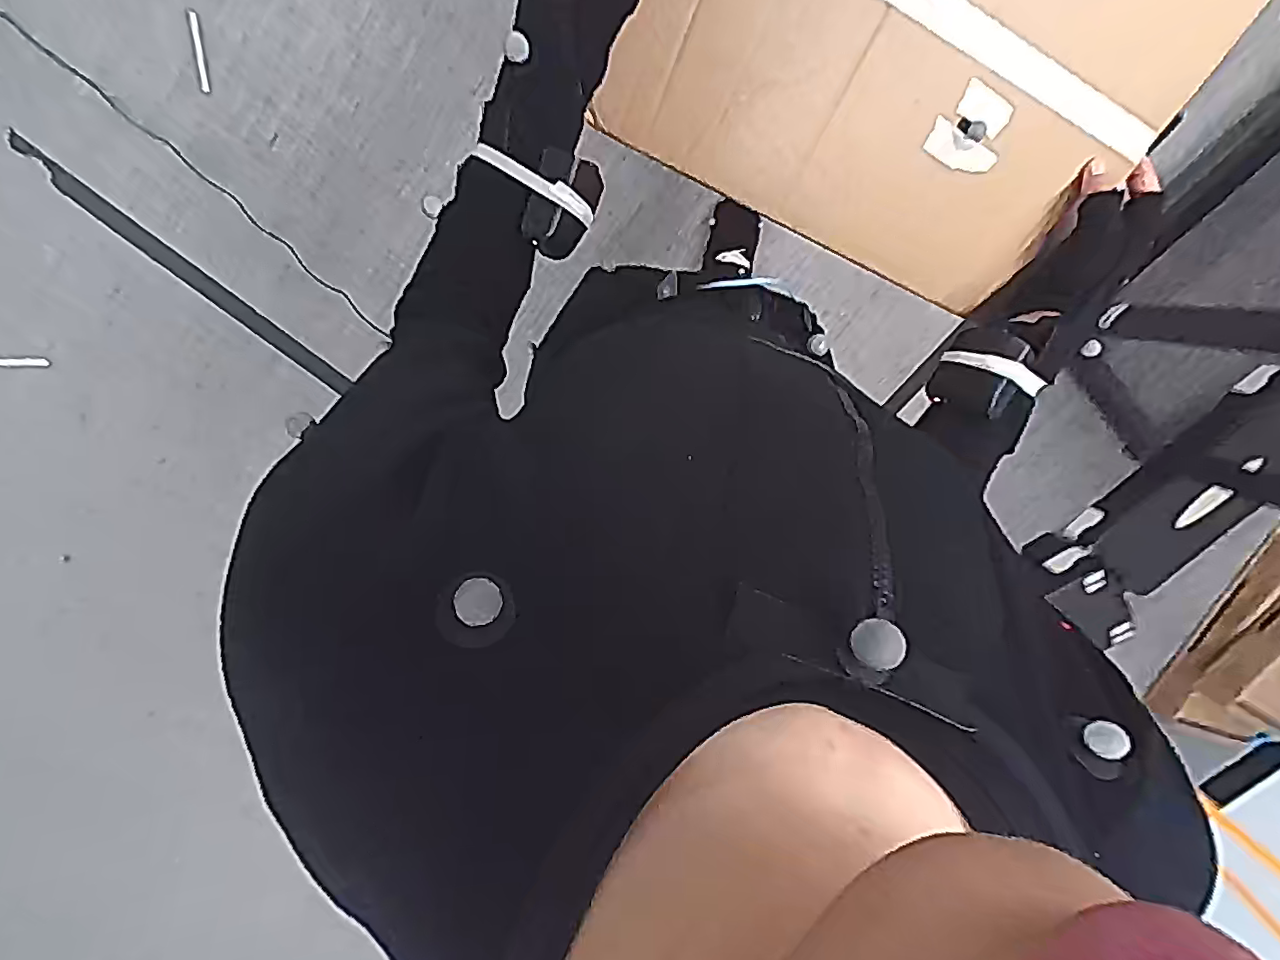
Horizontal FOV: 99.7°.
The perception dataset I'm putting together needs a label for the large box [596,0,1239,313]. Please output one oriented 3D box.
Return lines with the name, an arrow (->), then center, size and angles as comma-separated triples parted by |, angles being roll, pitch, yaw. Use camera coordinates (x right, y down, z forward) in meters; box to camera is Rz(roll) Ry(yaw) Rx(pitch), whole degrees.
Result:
large box -> 0.197, -0.416, 0.502 | 0.408, 0.320, 0.320 | 19, 124, -16
